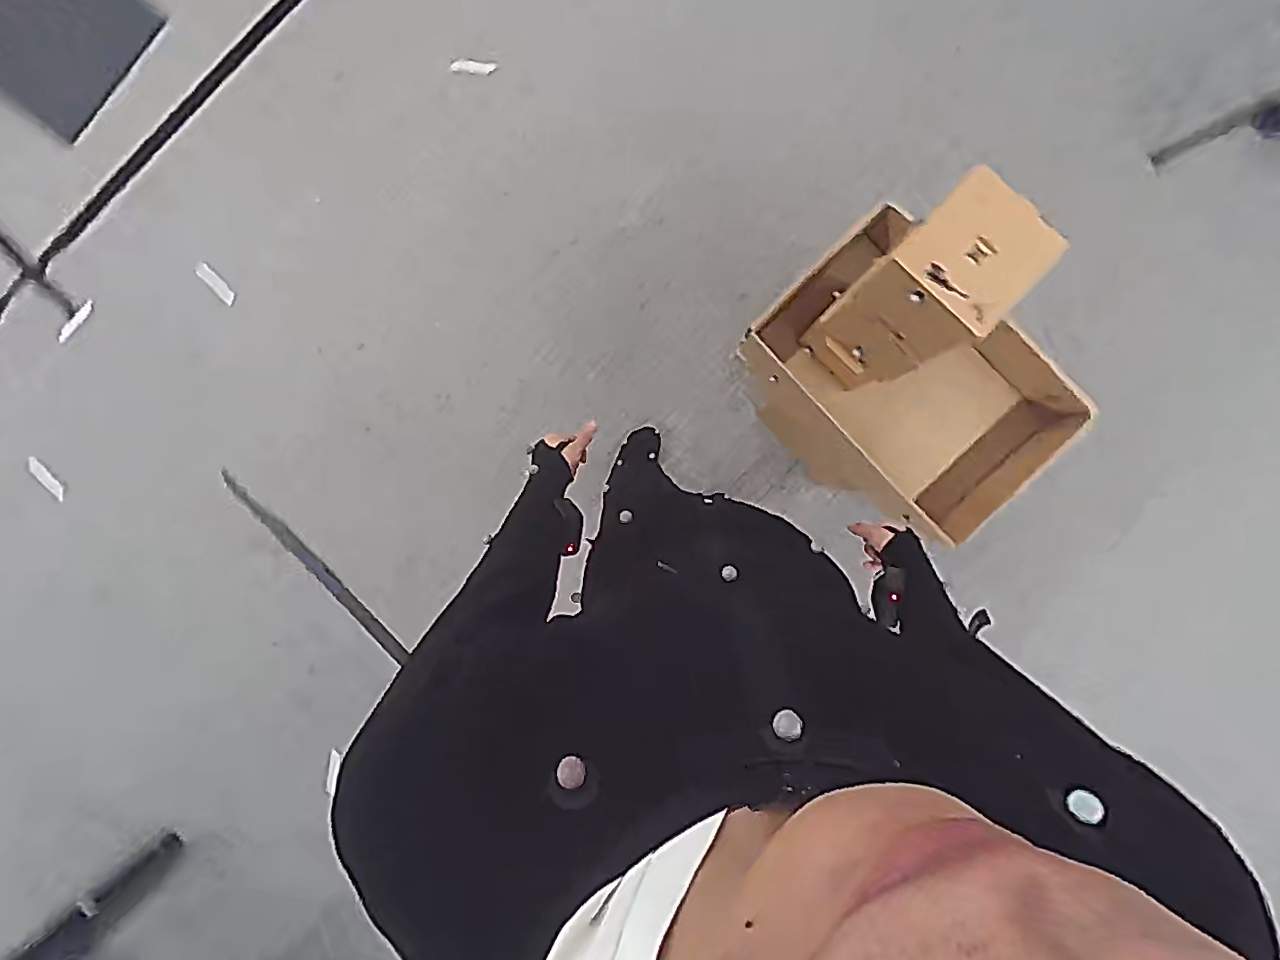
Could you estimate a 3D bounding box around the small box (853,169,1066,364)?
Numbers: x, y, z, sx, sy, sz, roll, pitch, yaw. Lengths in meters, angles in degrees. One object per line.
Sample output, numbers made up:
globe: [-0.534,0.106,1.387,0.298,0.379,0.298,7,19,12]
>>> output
small box: [0.455,-0.301,0.802,0.168,0.176,0.179,44,91,1]

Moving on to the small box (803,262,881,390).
small box: [0.465,-0.309,1.131,0.179,0.176,0.168,-44,90,1]

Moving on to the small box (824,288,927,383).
small box: [0.463,-0.298,0.967,0.168,0.176,0.179,44,92,1]
